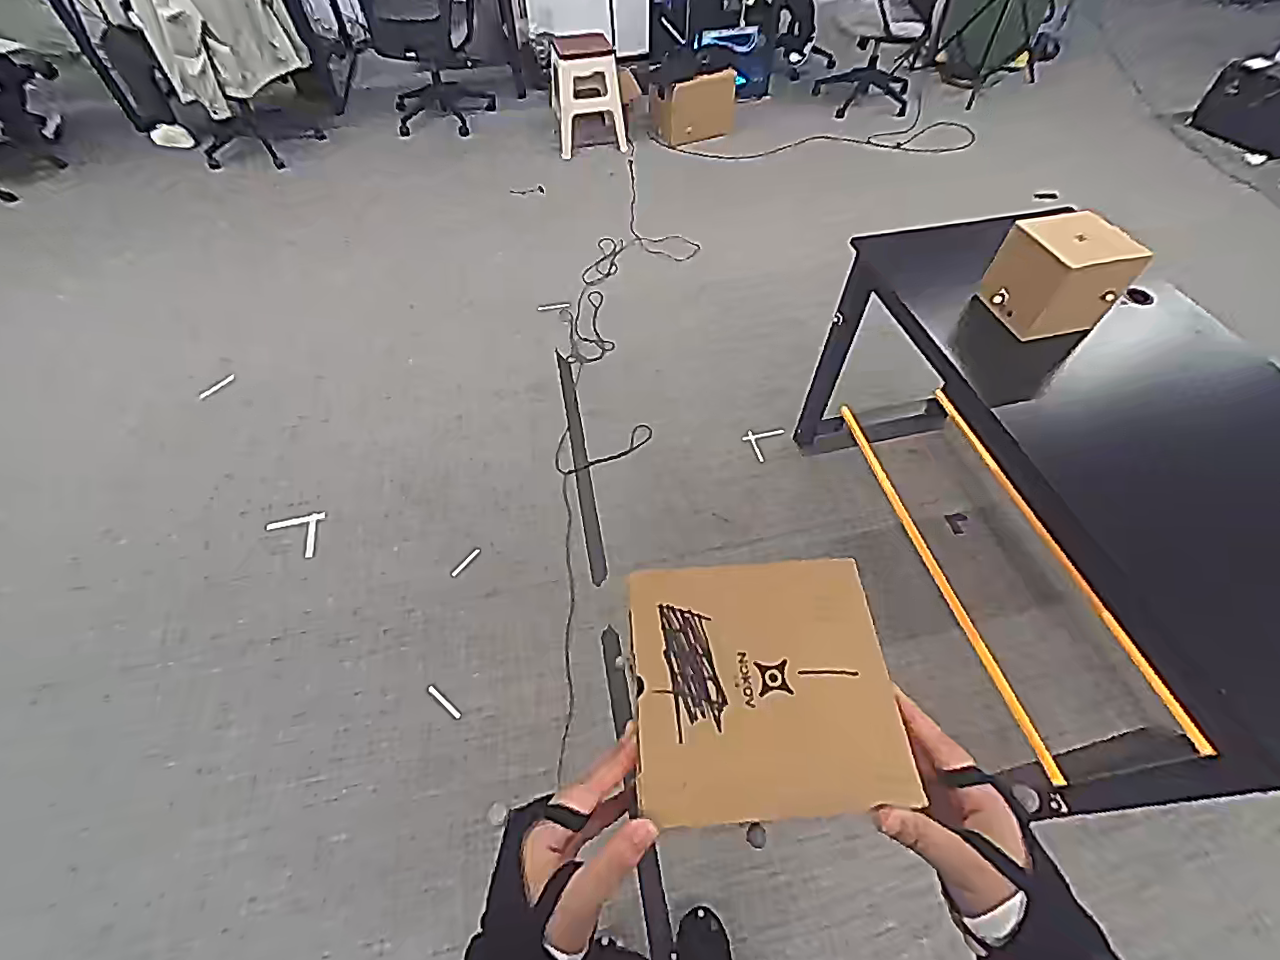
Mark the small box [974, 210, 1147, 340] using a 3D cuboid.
[{"bbox_3d":[0.821,-0.405,1.079,0.179,0.176,0.168,-13,54,-7],"label":"small box"}]

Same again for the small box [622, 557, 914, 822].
[{"bbox_3d":[0.079,0.176,0.438,0.179,0.176,0.168,-3,58,-2],"label":"small box"}]
